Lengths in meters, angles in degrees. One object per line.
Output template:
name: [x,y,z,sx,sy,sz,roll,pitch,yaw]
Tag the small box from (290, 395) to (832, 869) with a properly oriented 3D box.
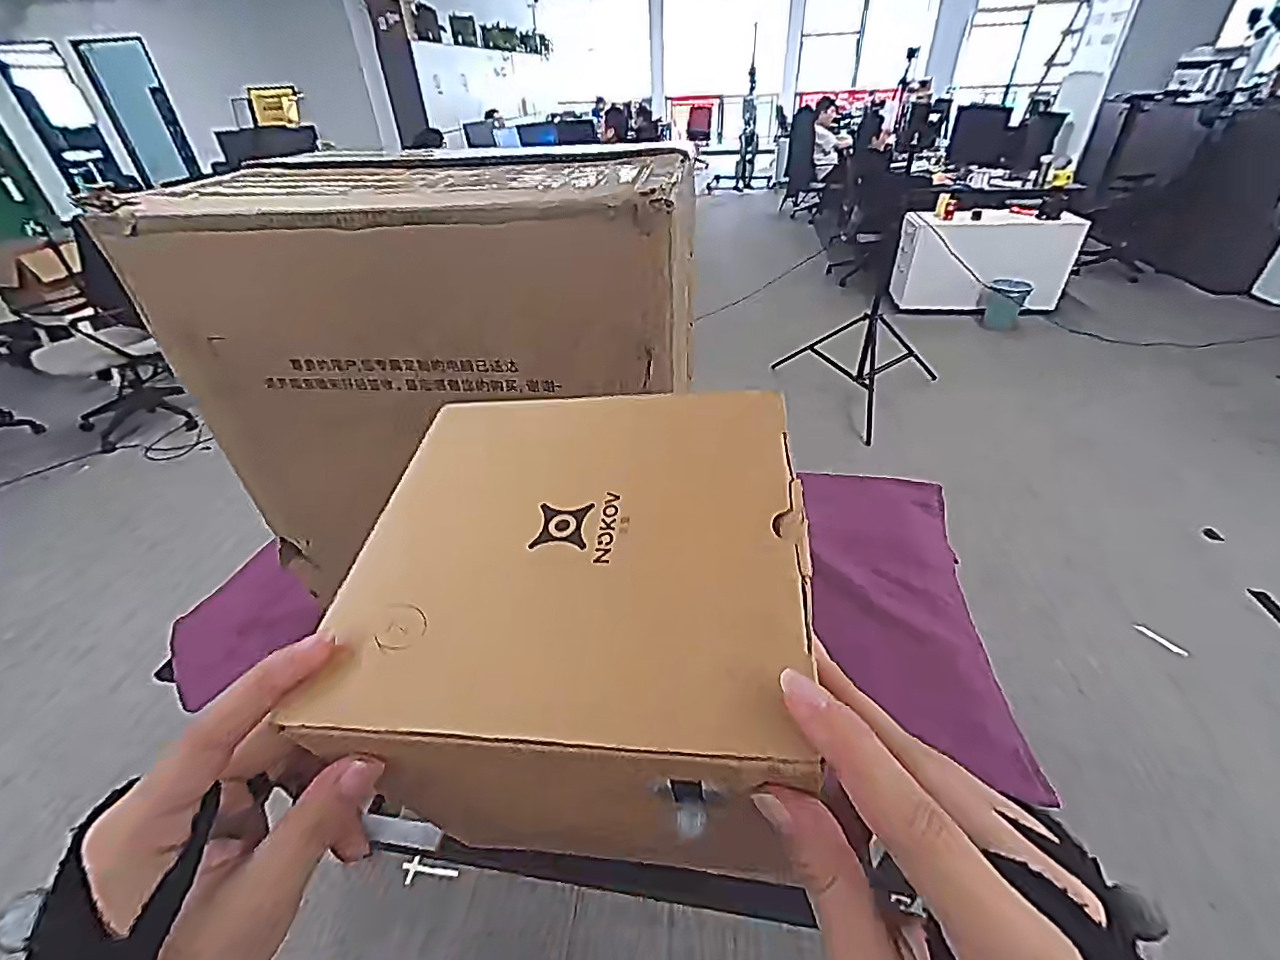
small box: [-0.011,0.077,0.272,0.179,0.176,0.168,-1,46,9]
